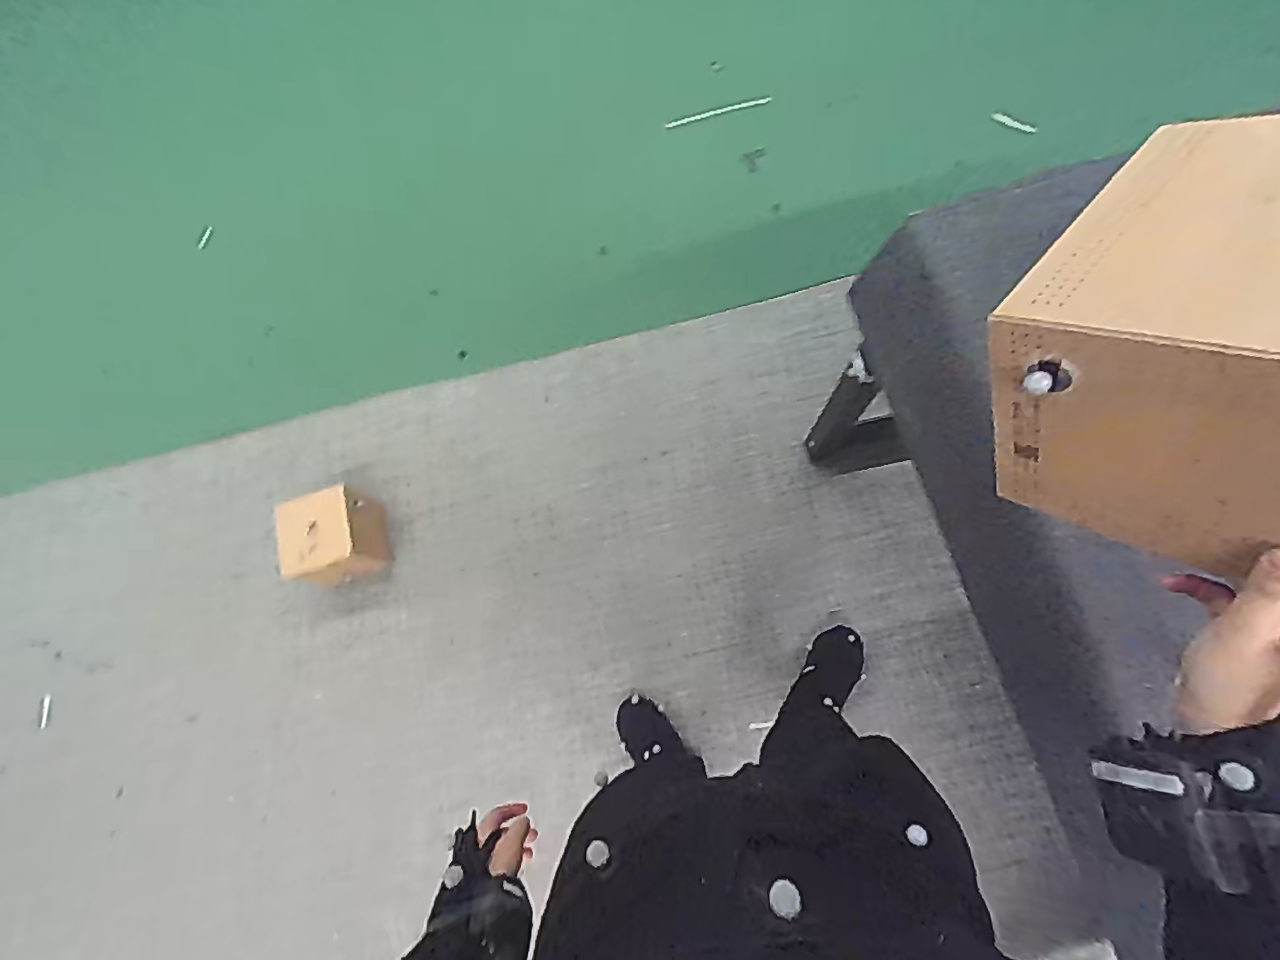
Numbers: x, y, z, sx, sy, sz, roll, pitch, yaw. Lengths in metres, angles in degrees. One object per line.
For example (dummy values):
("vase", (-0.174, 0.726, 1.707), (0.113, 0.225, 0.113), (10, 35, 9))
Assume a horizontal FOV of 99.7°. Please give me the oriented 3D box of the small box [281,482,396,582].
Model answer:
("small box", (-0.707, 0.129, 1.280), (0.168, 0.176, 0.179), (-18, 73, 1))
